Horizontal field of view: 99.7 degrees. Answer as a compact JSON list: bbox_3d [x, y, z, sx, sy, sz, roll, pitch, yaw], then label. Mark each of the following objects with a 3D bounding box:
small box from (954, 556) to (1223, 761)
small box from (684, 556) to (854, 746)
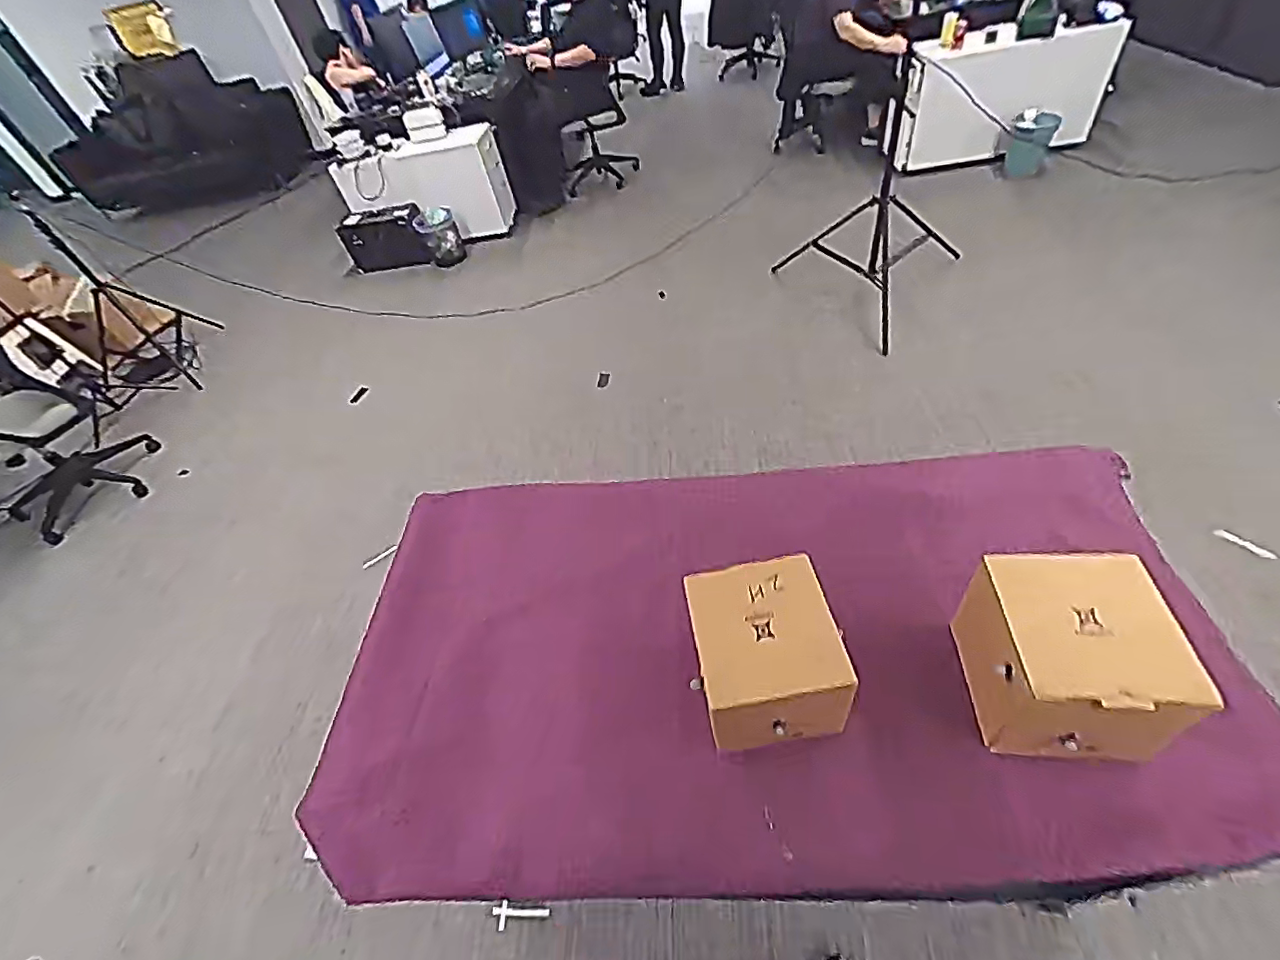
[{"bbox_3d":[0.499,0.210,0.643,0.168,0.176,0.179,-2,47,12],"label":"small box"},{"bbox_3d":[0.159,0.228,0.703,0.168,0.176,0.179,-11,46,2],"label":"small box"}]
